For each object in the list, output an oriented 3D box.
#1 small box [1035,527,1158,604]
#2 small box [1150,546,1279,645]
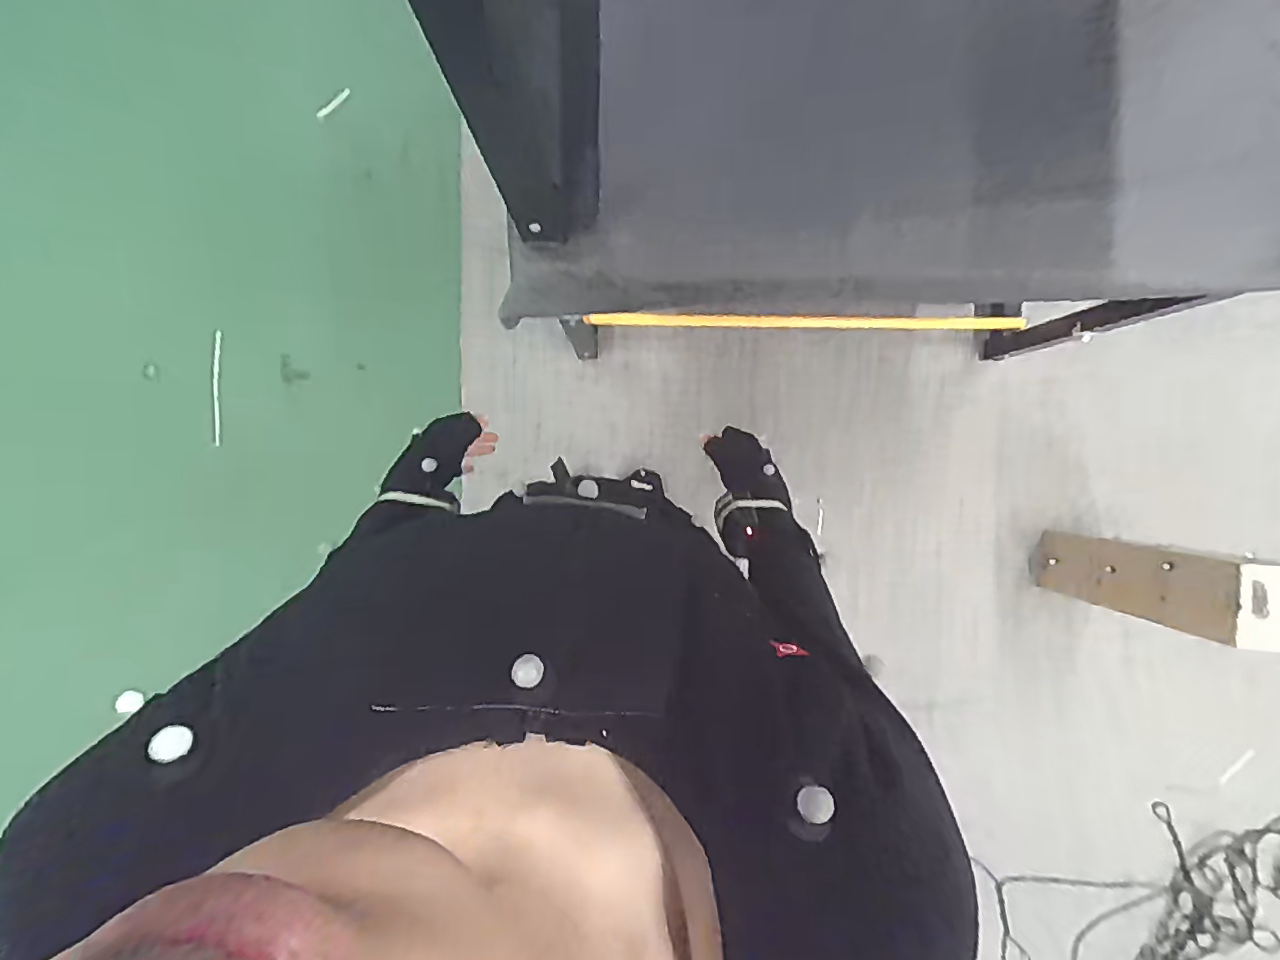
[{"bbox_3d":[1.208,0.221,1.440,0.179,0.176,0.168,6,91,-1],"label":"small box"},{"bbox_3d":[1.214,0.232,1.114,0.179,0.176,0.168,4,93,-1],"label":"small box"}]
